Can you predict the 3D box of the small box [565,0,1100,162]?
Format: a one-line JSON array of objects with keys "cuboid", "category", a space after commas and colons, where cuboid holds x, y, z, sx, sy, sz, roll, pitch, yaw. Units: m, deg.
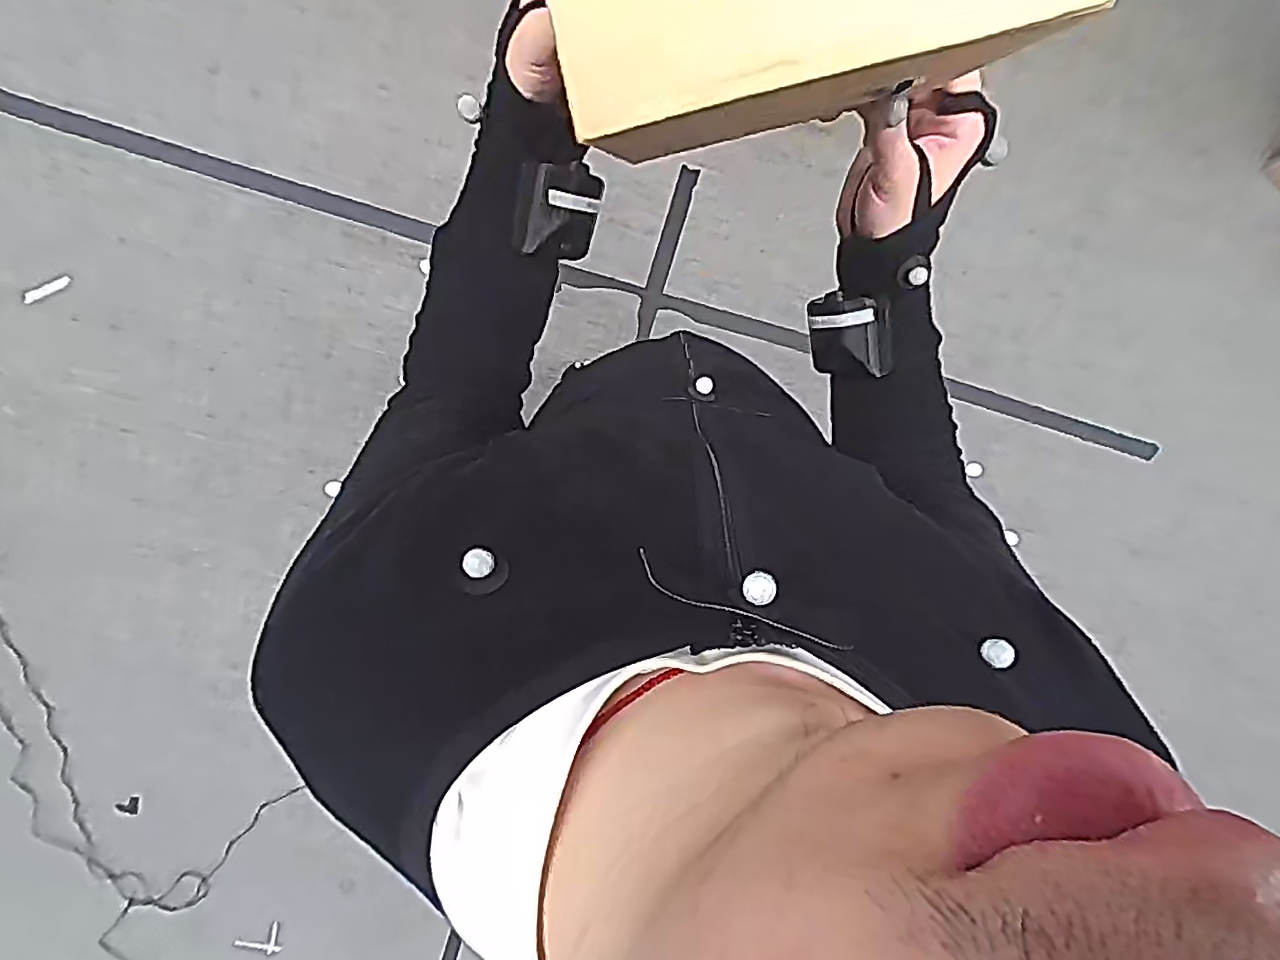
[{"cuboid": [0.057, -0.247, 0.226, 0.179, 0.176, 0.168, -8, 116, 10], "category": "small box"}]
